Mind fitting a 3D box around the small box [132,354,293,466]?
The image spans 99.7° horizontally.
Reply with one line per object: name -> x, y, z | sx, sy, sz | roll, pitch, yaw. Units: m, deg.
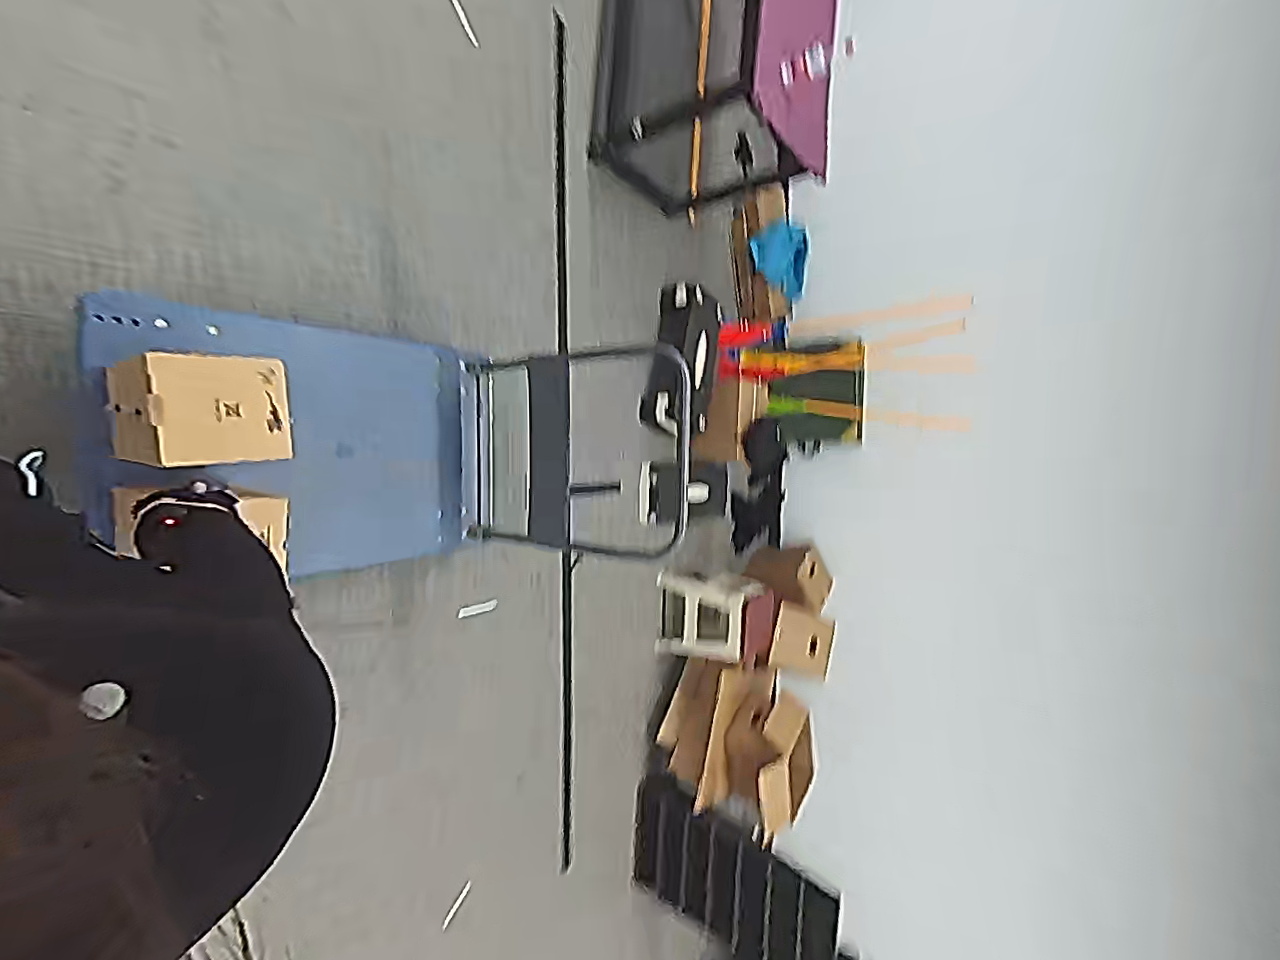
small box -> -0.706, -0.110, 0.892 | 0.179, 0.176, 0.168 | -9, 101, -51

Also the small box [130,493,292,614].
small box -> -0.713, 0.110, 0.902 | 0.179, 0.176, 0.168 | 0, 94, -52

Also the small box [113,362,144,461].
small box -> -0.836, -0.119, 0.993 | 0.179, 0.176, 0.168 | -6, 99, -53
